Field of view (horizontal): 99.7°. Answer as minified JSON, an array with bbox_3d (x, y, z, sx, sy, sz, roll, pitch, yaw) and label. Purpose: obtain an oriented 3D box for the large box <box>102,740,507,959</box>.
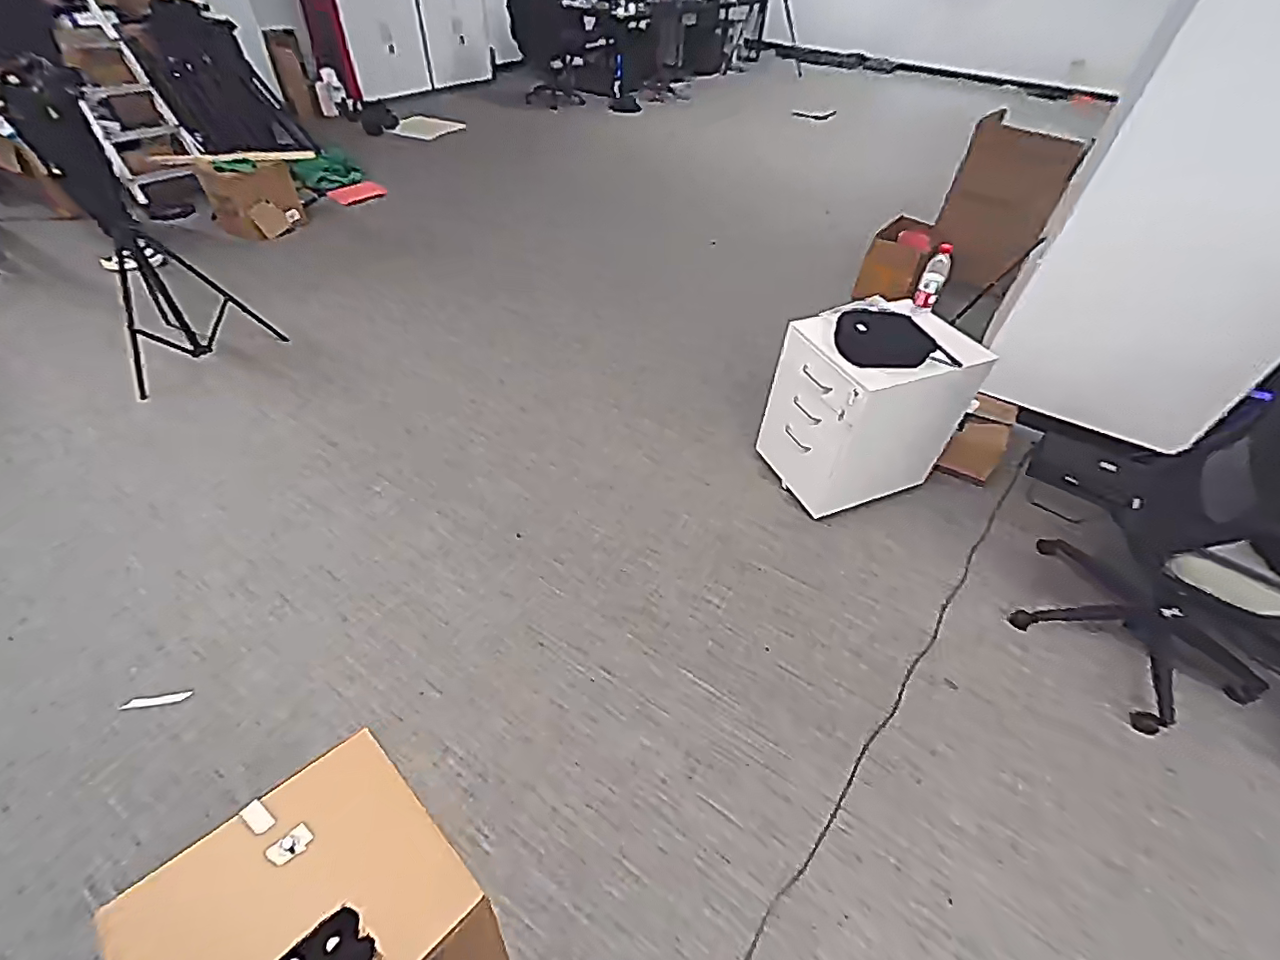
[{"bbox_3d":[-0.401,0.653,0.728,0.320,0.408,0.320,27,42,35],"label":"large box"}]
